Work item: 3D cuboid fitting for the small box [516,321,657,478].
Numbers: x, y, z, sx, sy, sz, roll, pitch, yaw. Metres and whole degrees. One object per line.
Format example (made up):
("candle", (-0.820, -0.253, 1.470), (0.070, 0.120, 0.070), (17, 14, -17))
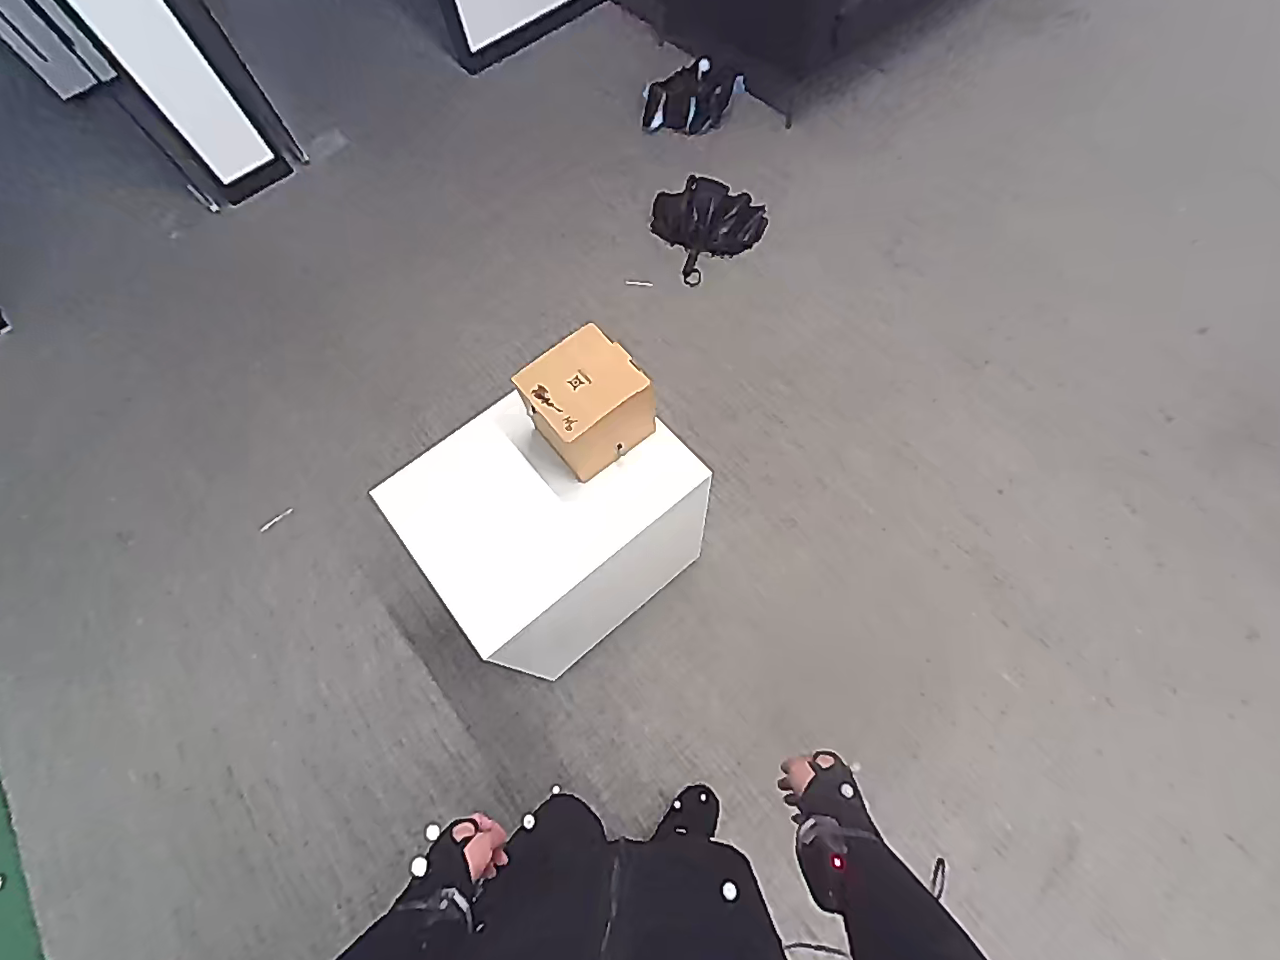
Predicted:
("small box", (-0.089, -0.136, 0.952), (0.179, 0.176, 0.168), (-36, 70, -13))
